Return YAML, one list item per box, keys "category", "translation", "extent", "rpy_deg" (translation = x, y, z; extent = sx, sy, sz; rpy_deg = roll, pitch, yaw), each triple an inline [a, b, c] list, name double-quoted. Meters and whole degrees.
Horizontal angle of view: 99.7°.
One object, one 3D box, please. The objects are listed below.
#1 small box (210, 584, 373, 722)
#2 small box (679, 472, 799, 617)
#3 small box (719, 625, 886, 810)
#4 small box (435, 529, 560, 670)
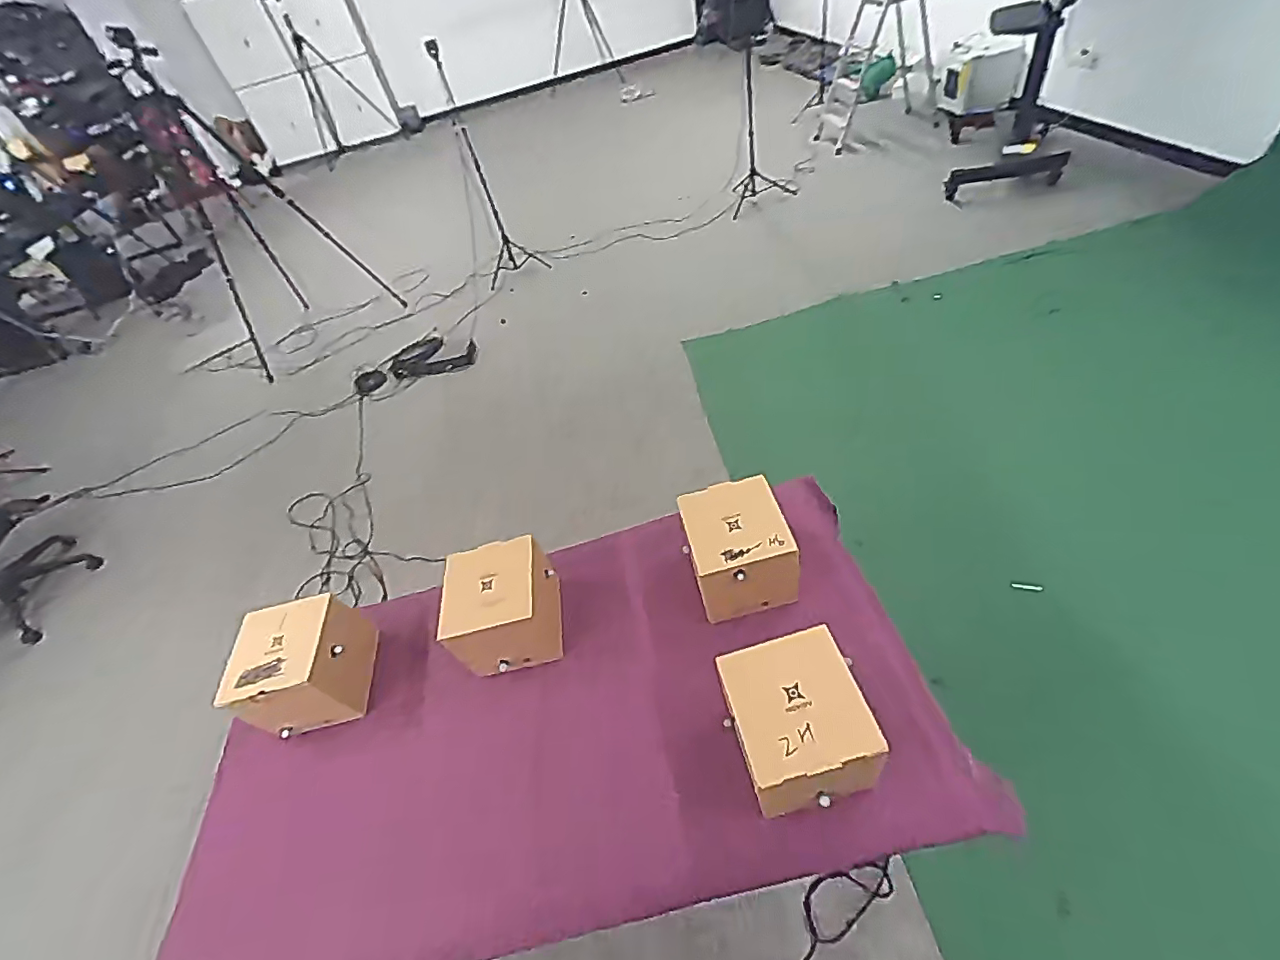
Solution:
- category: "small box"
  translation: [-0.614, 0.321, 0.981]
  extent: [0.168, 0.176, 0.179]
  rpy_deg: [-14, 49, 1]
- category: "small box"
  translation: [0.174, 0.117, 0.973]
  extent: [0.168, 0.176, 0.179]
  rpy_deg: [-15, 48, 2]
- category: "small box"
  translation: [0.218, 0.338, 0.766]
  extent: [0.168, 0.176, 0.179]
  rpy_deg: [-17, 48, 1]
- category: "small box"
  translation: [-0.250, 0.219, 0.988]
  extent: [0.168, 0.176, 0.179]
  rpy_deg: [-13, 49, 3]
